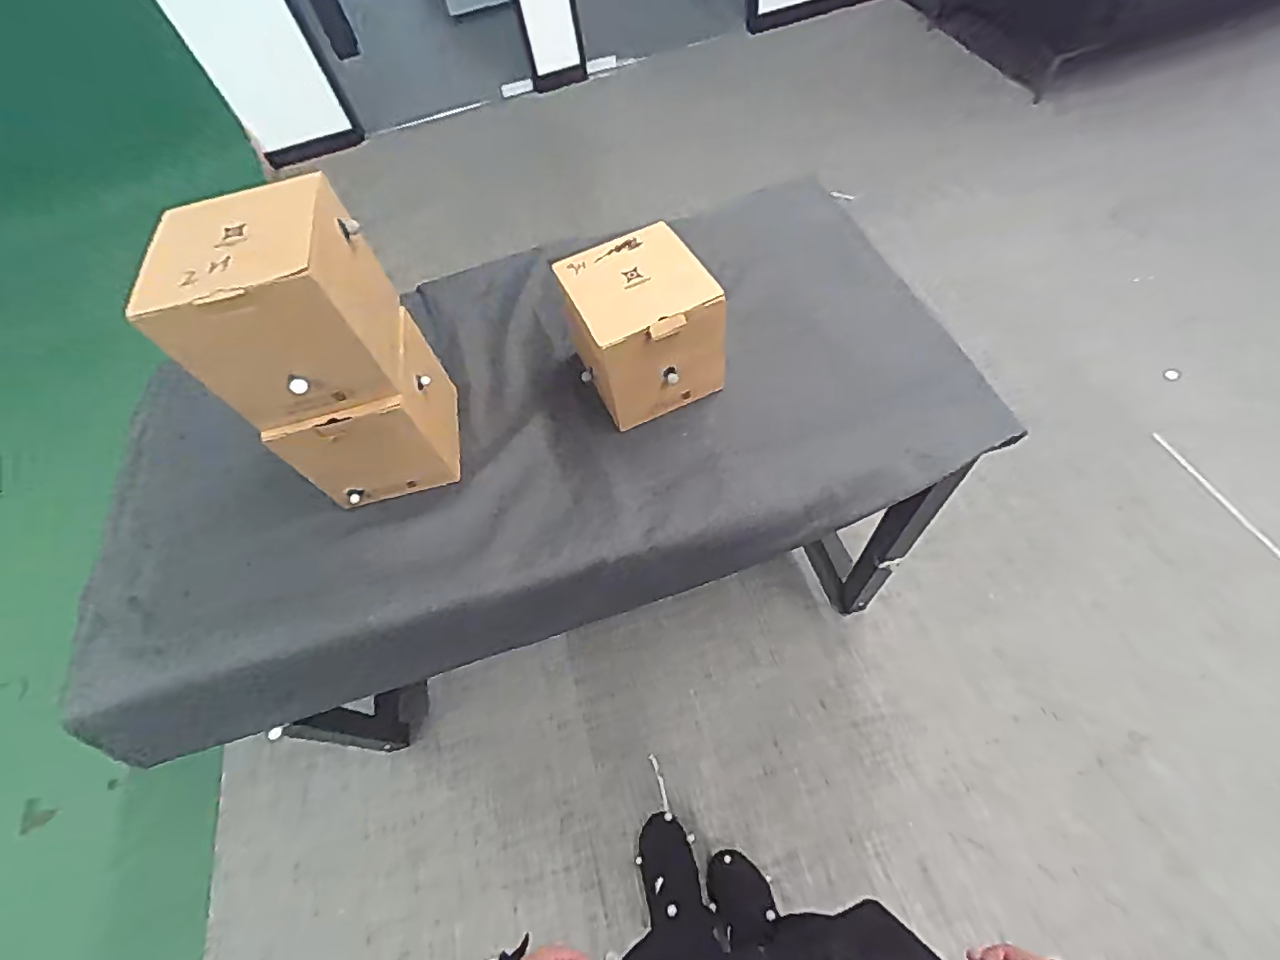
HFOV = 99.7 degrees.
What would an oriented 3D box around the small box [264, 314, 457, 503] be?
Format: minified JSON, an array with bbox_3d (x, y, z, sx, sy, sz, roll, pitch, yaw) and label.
[{"bbox_3d":[-0.356,-0.086,0.725,0.168,0.176,0.179,-14,57,-1],"label":"small box"}]

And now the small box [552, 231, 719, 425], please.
[{"bbox_3d":[0.000,-0.198,0.746,0.168,0.176,0.179,-24,59,-7],"label":"small box"}]

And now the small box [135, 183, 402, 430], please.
[{"bbox_3d":[-0.381,-0.185,0.595,0.168,0.176,0.179,-16,58,-2],"label":"small box"}]
